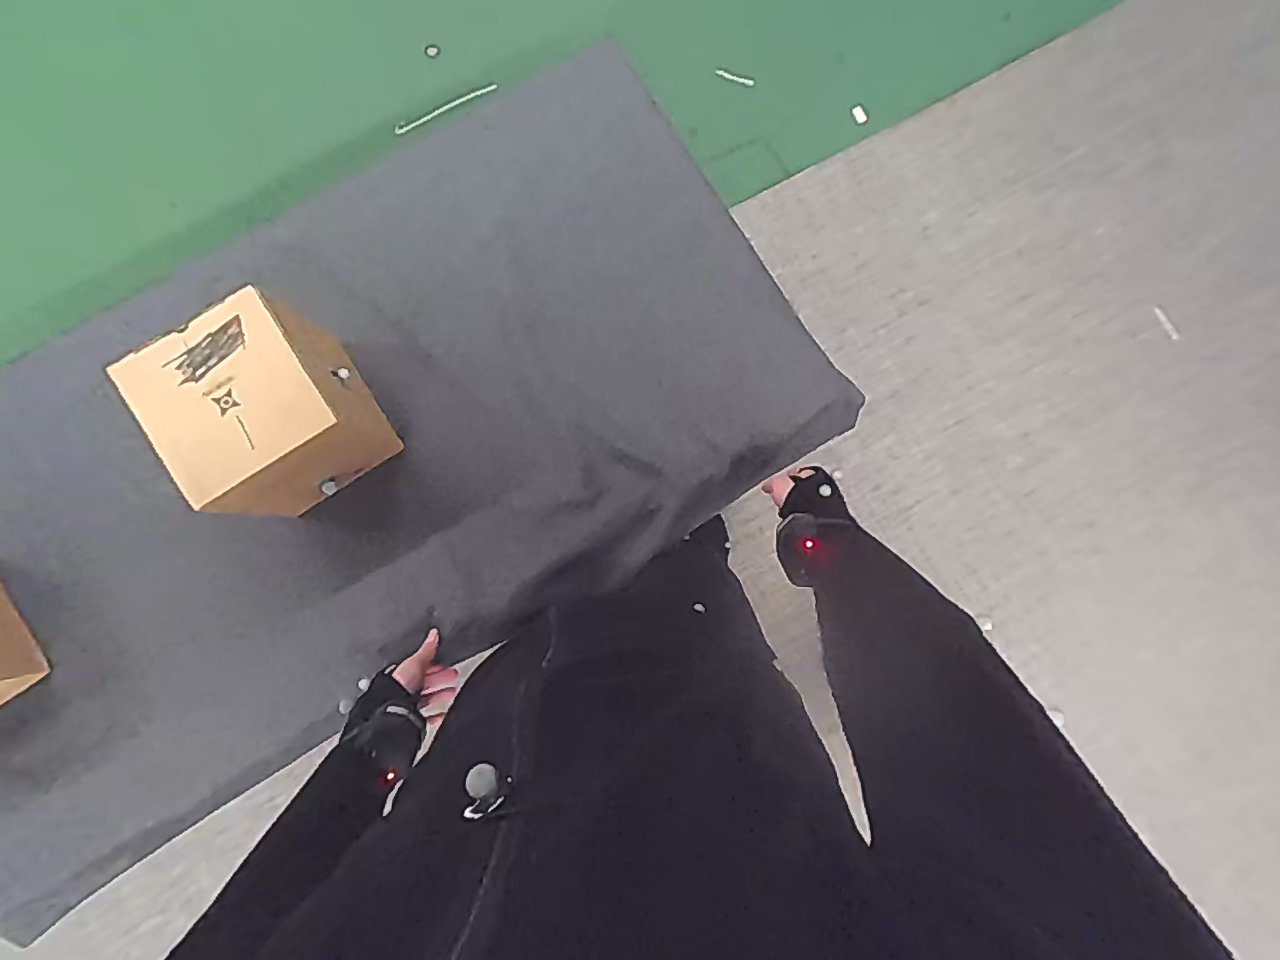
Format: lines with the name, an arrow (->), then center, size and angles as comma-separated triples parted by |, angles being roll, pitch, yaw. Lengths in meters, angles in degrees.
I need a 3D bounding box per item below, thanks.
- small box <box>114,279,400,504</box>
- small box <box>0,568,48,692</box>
small box -> -0.418, -0.085, 0.622 | 0.168, 0.176, 0.179 | -34, 87, -4
small box -> -0.833, 0.191, 0.589 | 0.168, 0.176, 0.179 | -35, 87, -5
